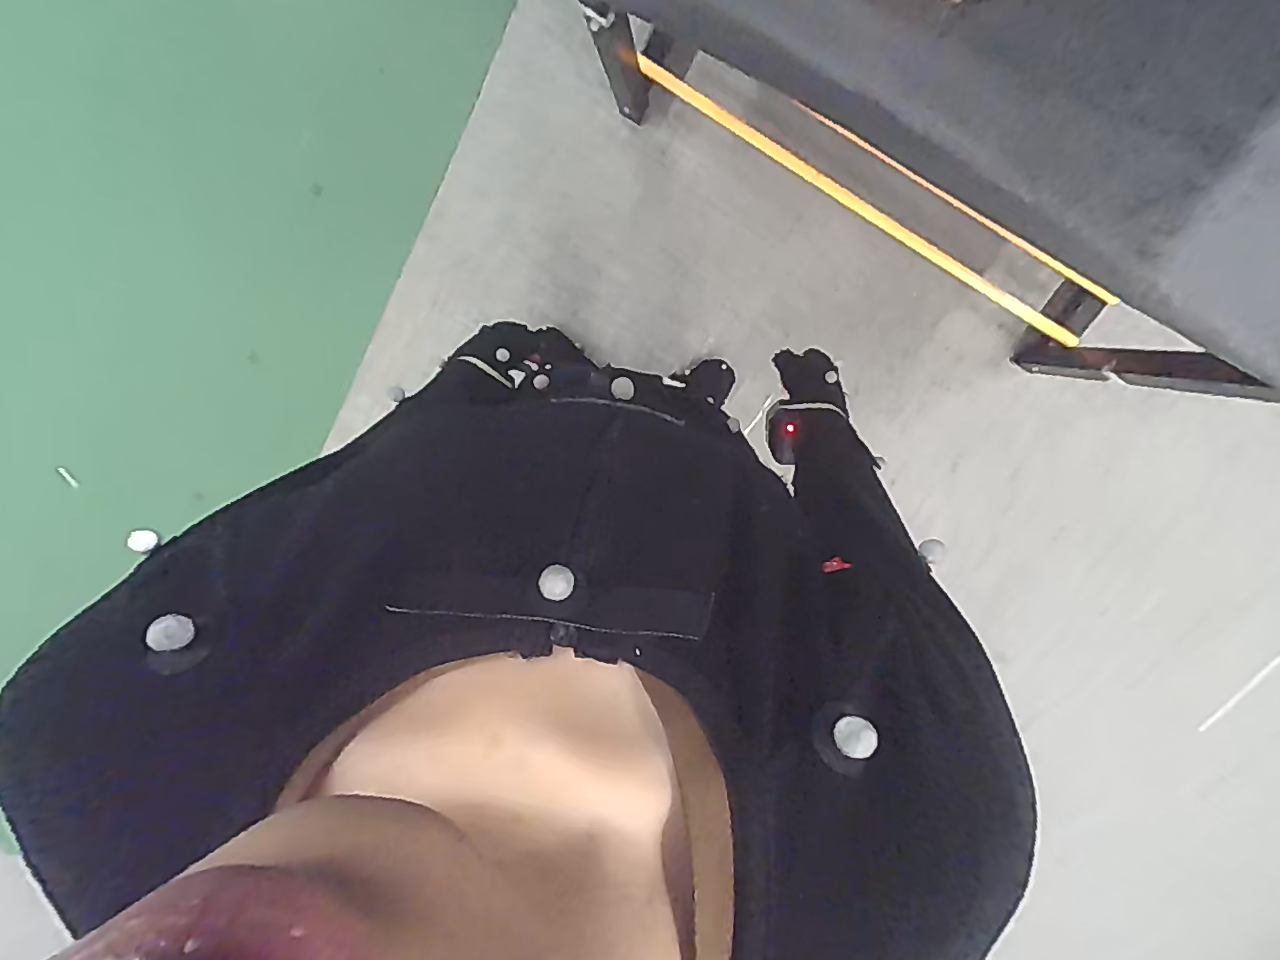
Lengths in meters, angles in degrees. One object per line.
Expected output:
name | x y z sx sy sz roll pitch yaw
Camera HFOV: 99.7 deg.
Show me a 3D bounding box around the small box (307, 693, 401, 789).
small box | -0.900 0.824 1.719 0.168 0.176 0.179 38 104 -4
